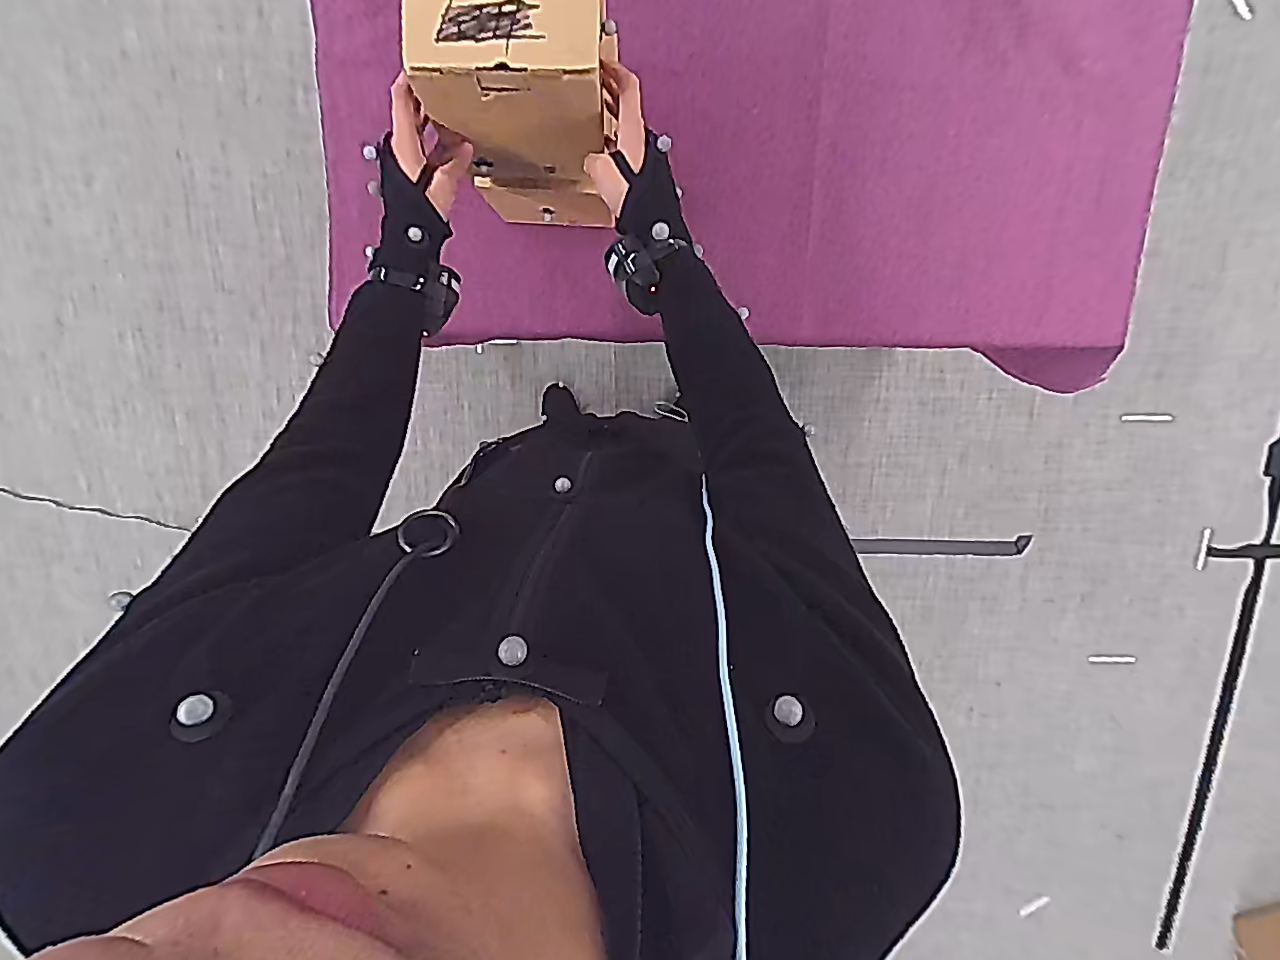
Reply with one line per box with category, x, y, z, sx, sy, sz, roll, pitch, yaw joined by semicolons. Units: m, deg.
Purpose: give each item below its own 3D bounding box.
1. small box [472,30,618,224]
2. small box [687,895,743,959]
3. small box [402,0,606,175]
small box;-0.116;-0.449;0.709;0.168;0.176;0.179;3;102;-2
small box;0.260;1.622;1.923;0.179;0.176;0.168;-2;102;-2
small box;-0.119;-0.429;0.533;0.168;0.176;0.179;0;92;-2
